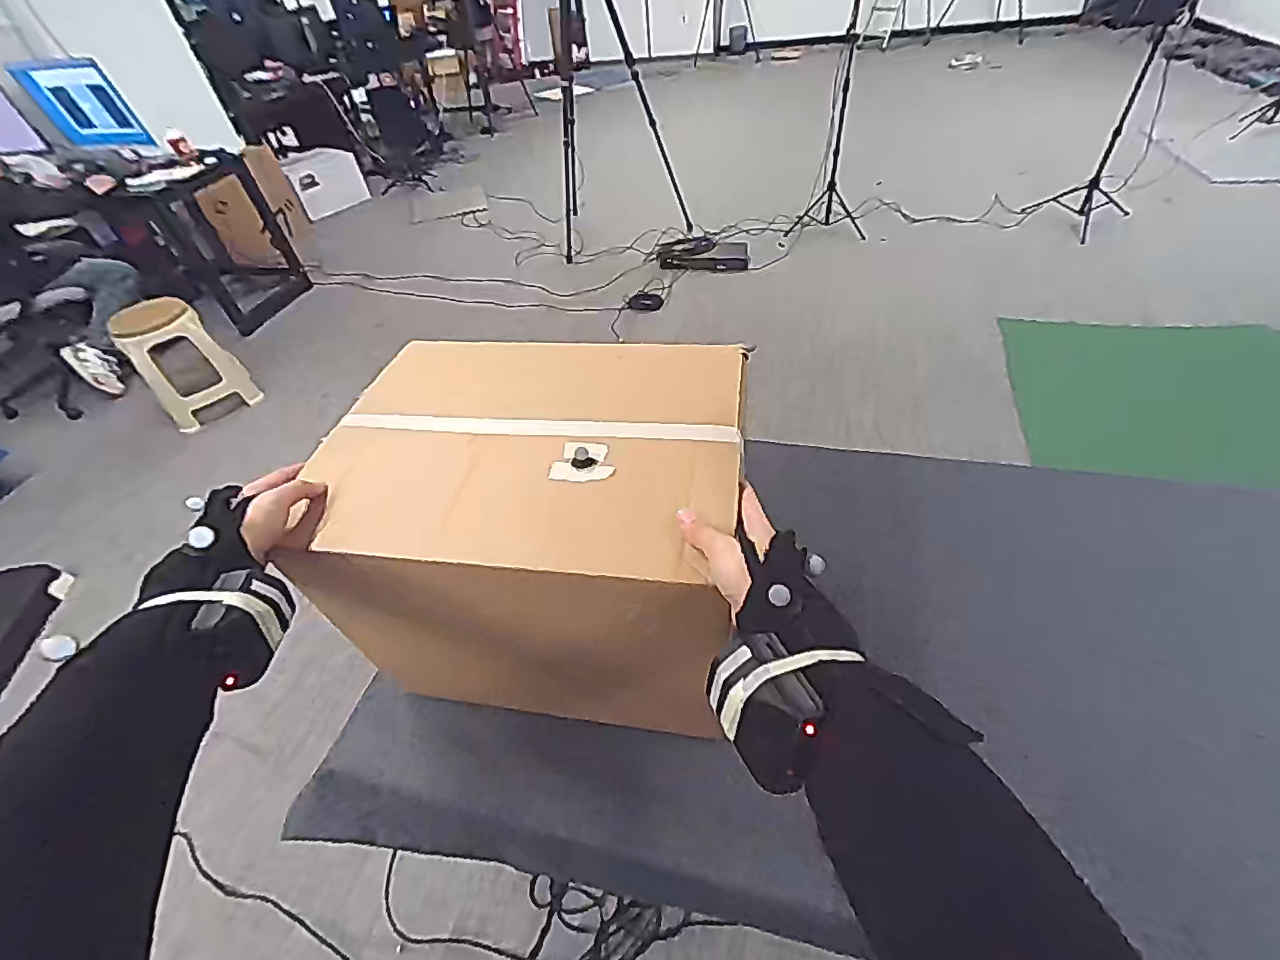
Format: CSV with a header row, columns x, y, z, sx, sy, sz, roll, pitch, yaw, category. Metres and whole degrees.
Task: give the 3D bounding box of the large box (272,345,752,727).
x,y,z,sx,sy,sz,roll,pitch,yaw,category
-0.086,0.059,0.632,0.408,0.320,0.320,4,47,9,large box
